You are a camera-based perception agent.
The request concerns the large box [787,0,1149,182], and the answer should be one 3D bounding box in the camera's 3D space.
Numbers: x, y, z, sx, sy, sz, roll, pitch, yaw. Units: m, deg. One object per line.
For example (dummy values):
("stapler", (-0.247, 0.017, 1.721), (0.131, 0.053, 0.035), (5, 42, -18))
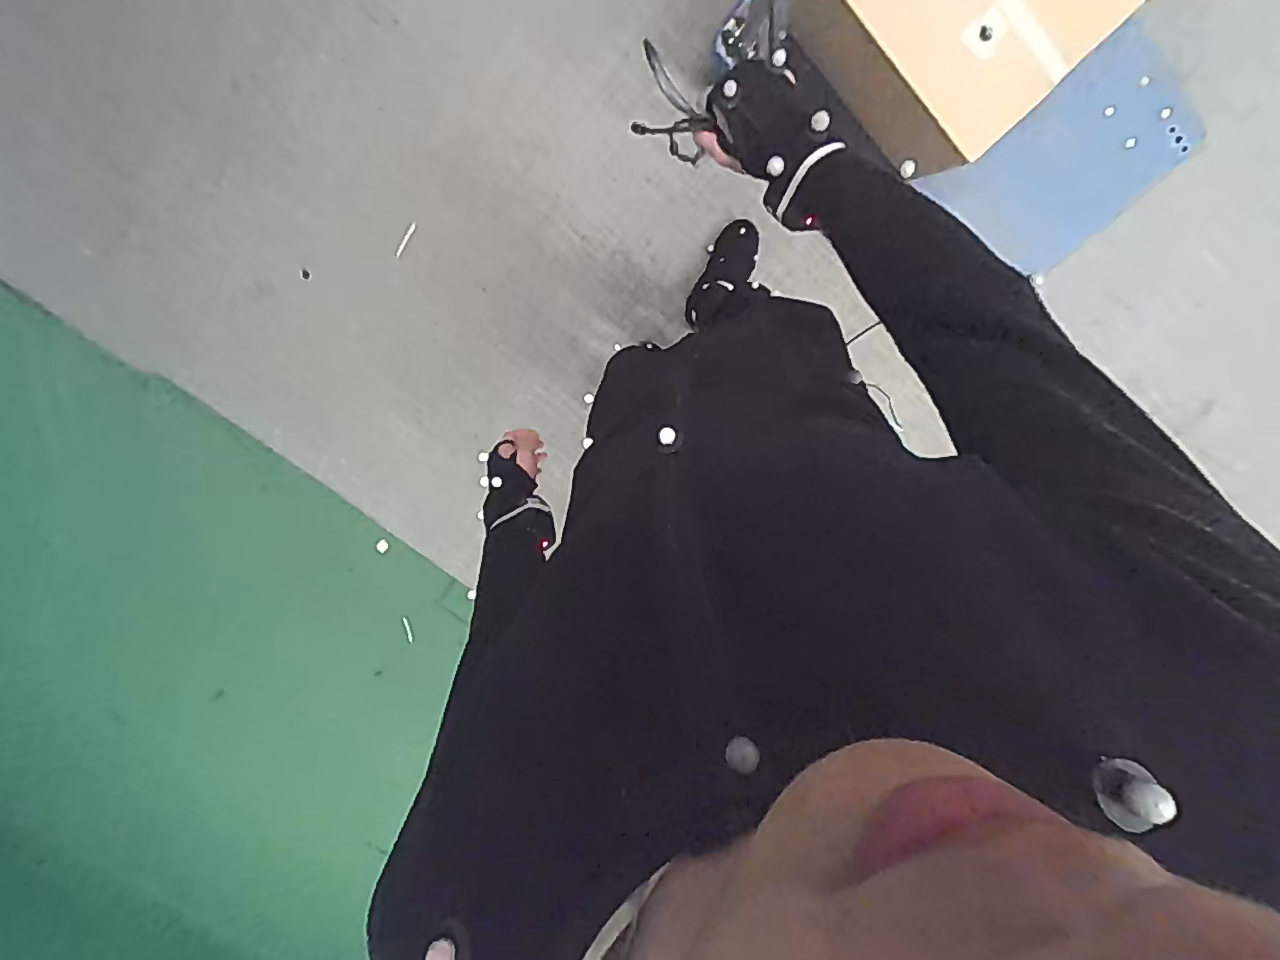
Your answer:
("large box", (0.522, -0.805, 0.937), (0.408, 0.320, 0.320), (42, 112, -13))
